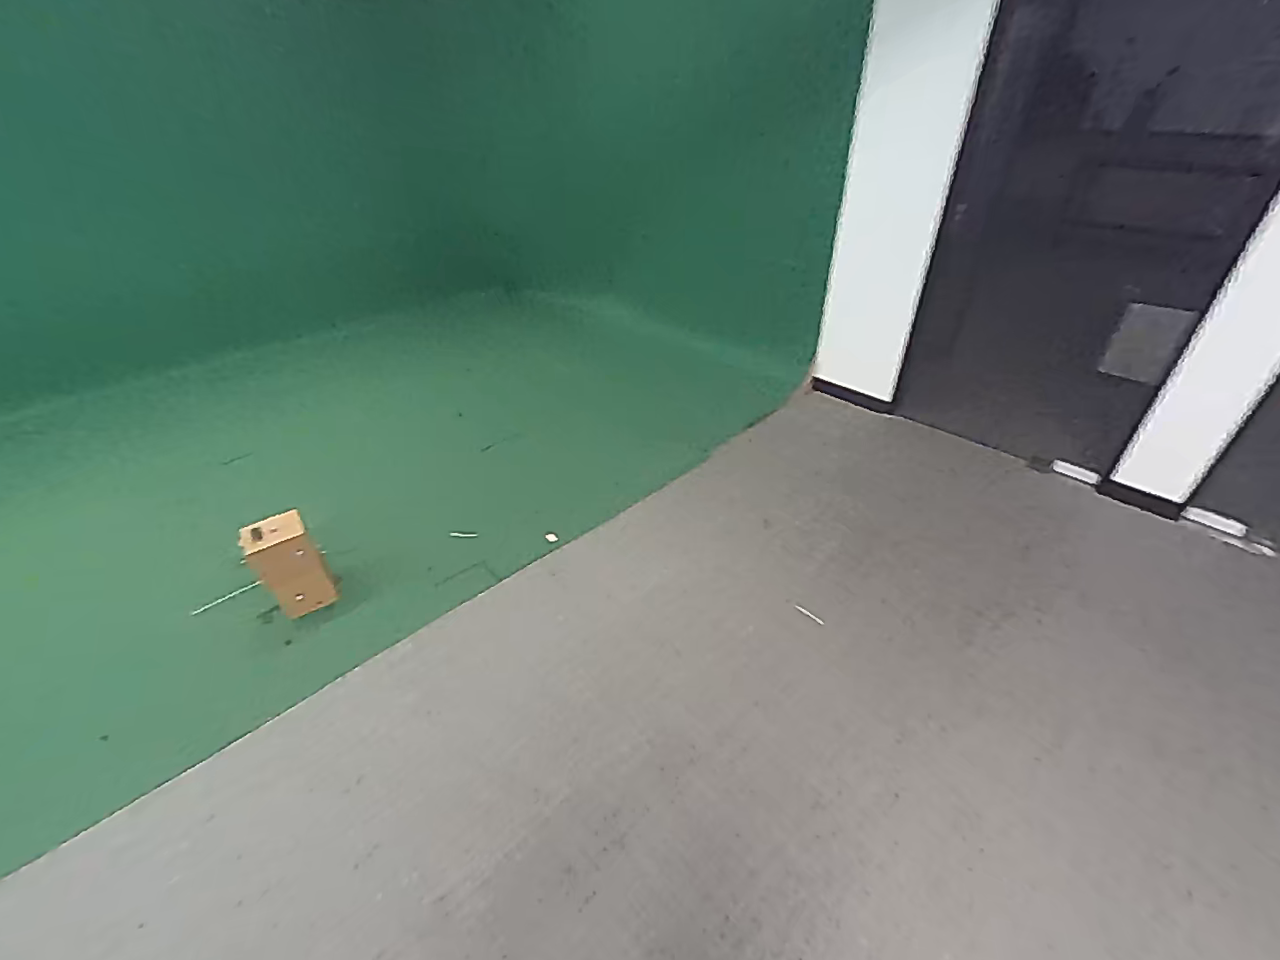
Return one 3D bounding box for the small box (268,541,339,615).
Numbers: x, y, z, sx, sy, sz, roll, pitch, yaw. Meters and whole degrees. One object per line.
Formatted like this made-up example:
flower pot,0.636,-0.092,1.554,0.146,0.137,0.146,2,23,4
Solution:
small box,-1.214,0.361,1.956,0.168,0.176,0.179,-23,42,-26
